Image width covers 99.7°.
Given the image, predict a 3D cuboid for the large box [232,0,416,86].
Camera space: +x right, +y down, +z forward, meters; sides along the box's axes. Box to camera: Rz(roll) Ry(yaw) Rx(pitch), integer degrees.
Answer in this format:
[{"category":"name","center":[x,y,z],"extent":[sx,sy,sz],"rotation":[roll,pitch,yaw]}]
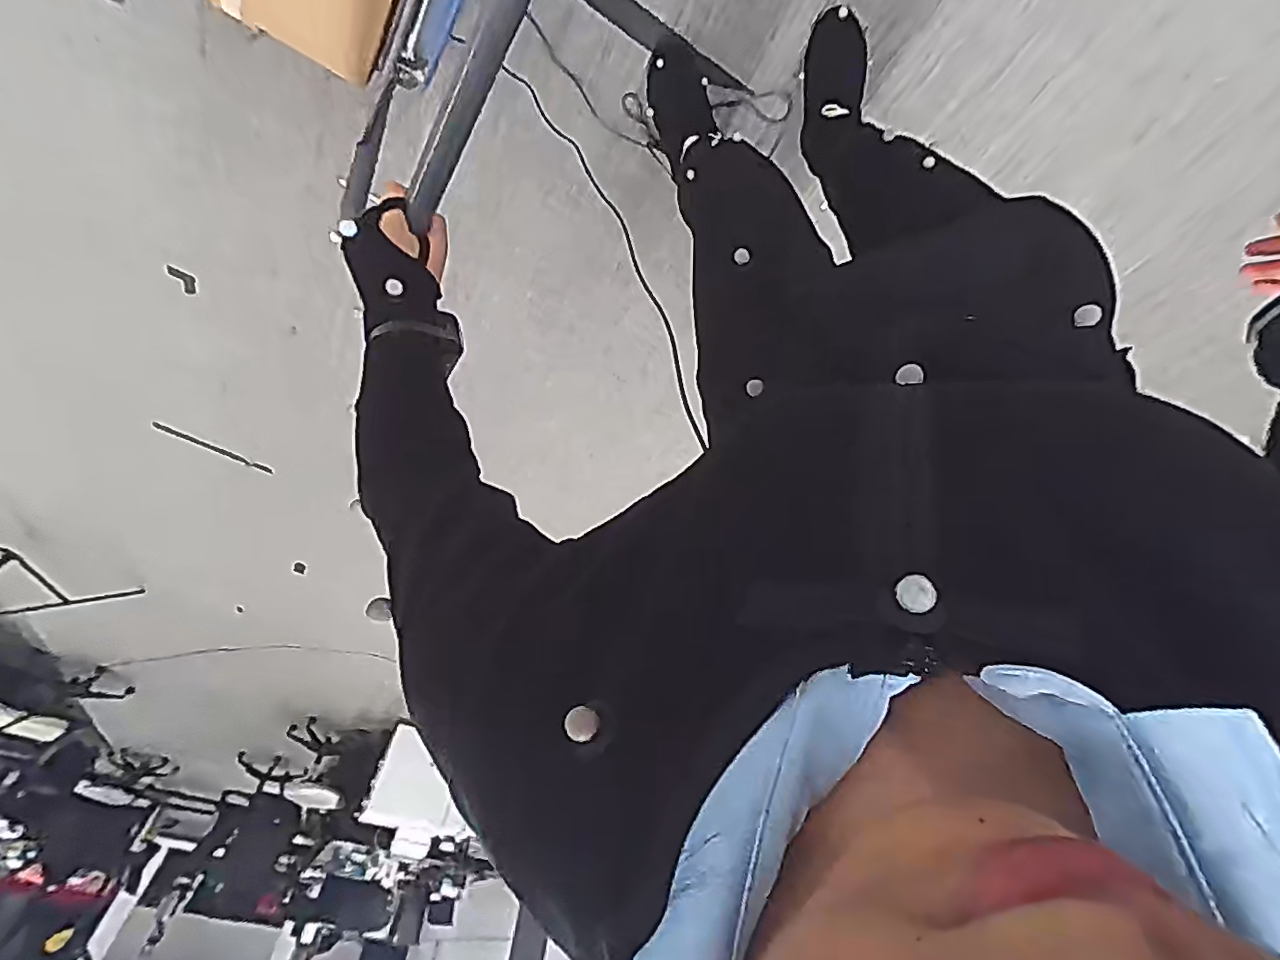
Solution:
[{"category":"large box","center":[-0.393,-0.807,0.638],"extent":[0.320,0.320,0.408],"rotation":[19,136,-32]}]
